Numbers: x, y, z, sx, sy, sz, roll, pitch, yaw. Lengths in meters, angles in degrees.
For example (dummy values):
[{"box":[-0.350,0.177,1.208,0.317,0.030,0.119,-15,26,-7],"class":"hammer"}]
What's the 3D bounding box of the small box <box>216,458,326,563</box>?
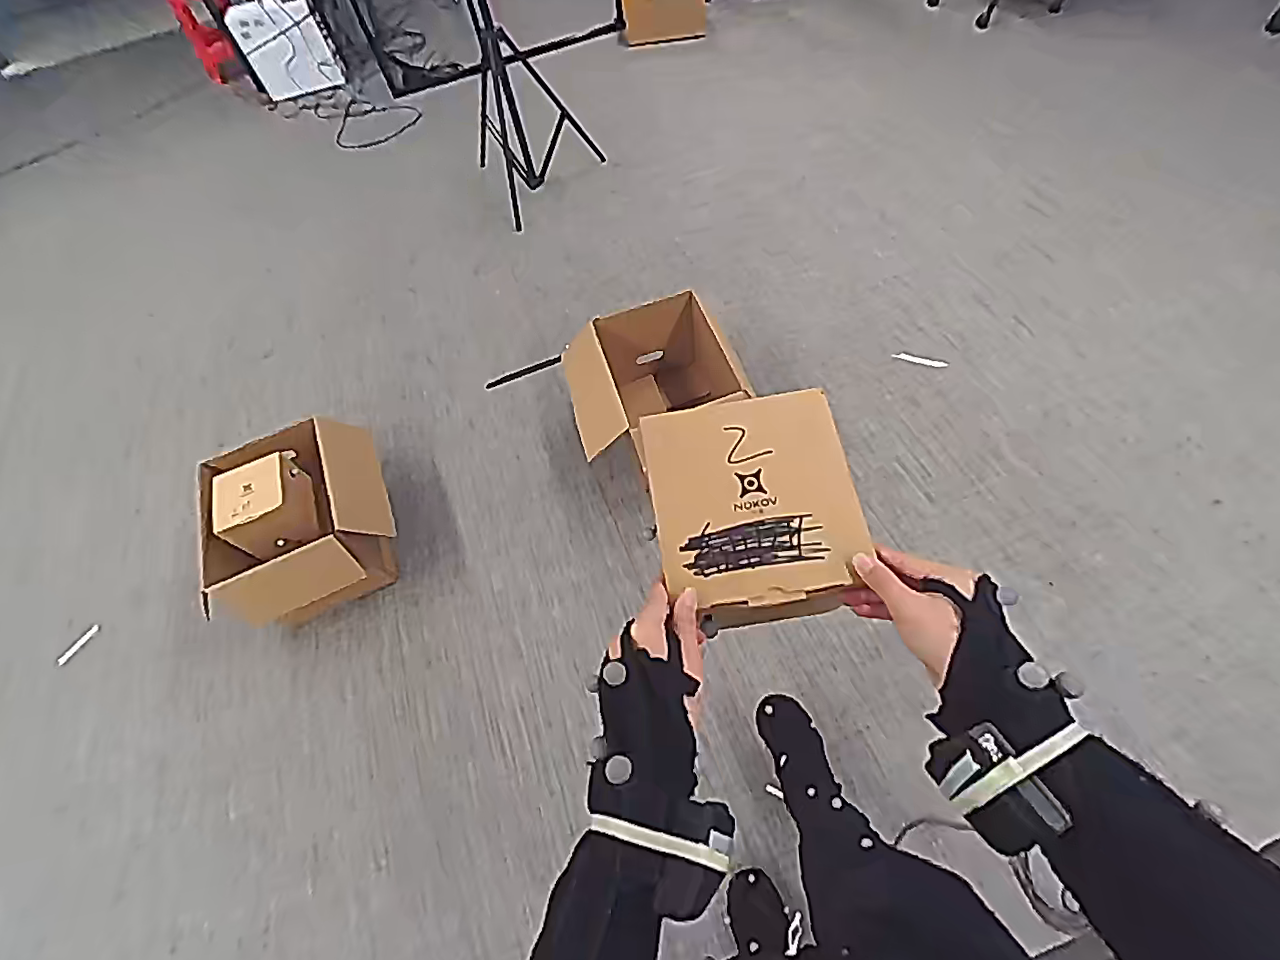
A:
[{"box":[-0.929,0.080,1.370,0.168,0.176,0.179,-24,59,-7],"class":"small box"}]
